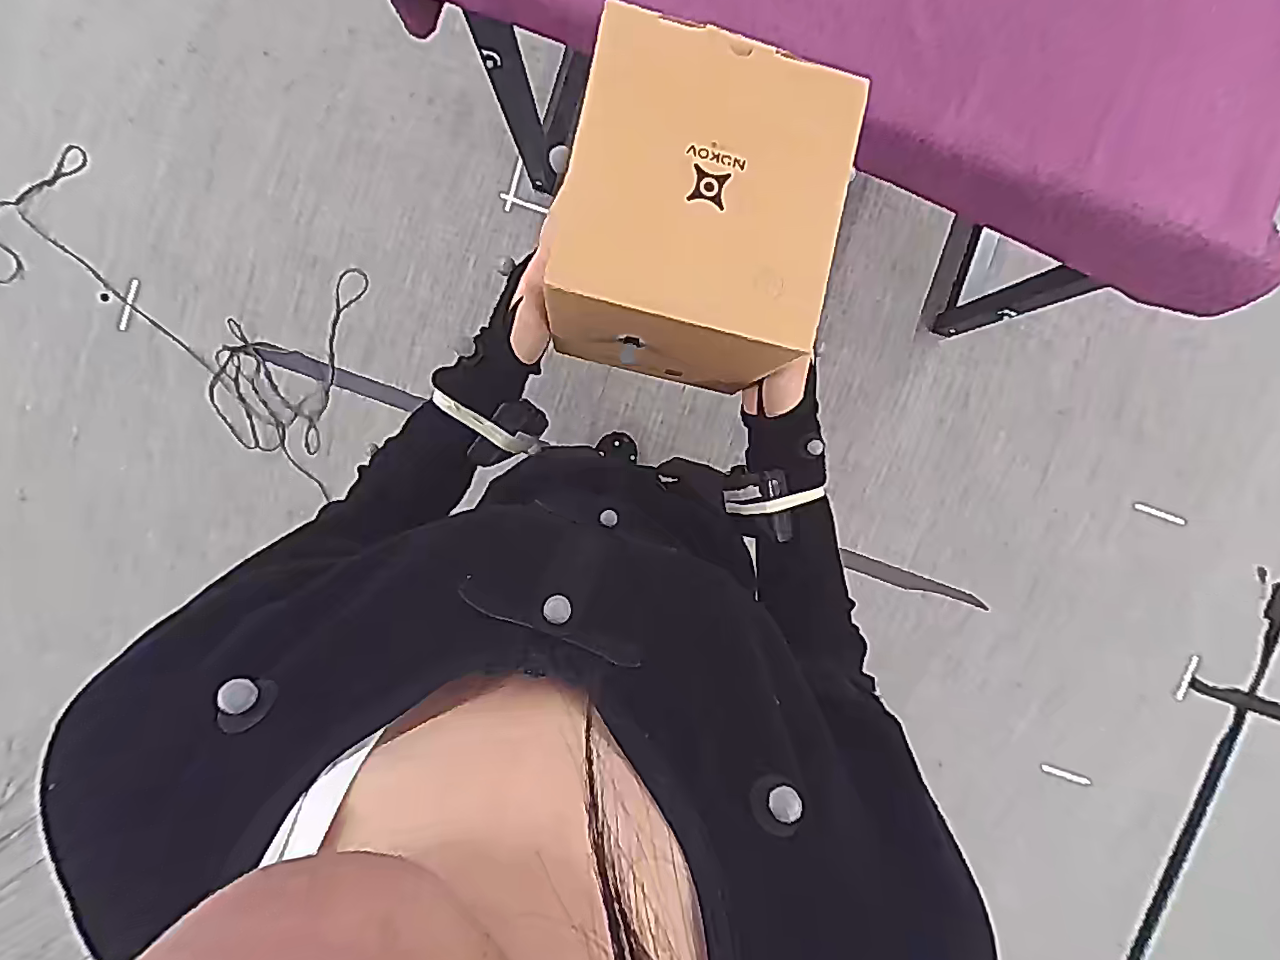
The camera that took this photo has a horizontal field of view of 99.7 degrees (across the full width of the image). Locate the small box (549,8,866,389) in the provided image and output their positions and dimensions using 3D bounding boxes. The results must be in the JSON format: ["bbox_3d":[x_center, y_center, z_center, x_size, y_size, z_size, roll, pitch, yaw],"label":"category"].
[{"bbox_3d":[0.036,-0.178,0.405,0.168,0.176,0.179,13,87,-6],"label":"small box"}]
